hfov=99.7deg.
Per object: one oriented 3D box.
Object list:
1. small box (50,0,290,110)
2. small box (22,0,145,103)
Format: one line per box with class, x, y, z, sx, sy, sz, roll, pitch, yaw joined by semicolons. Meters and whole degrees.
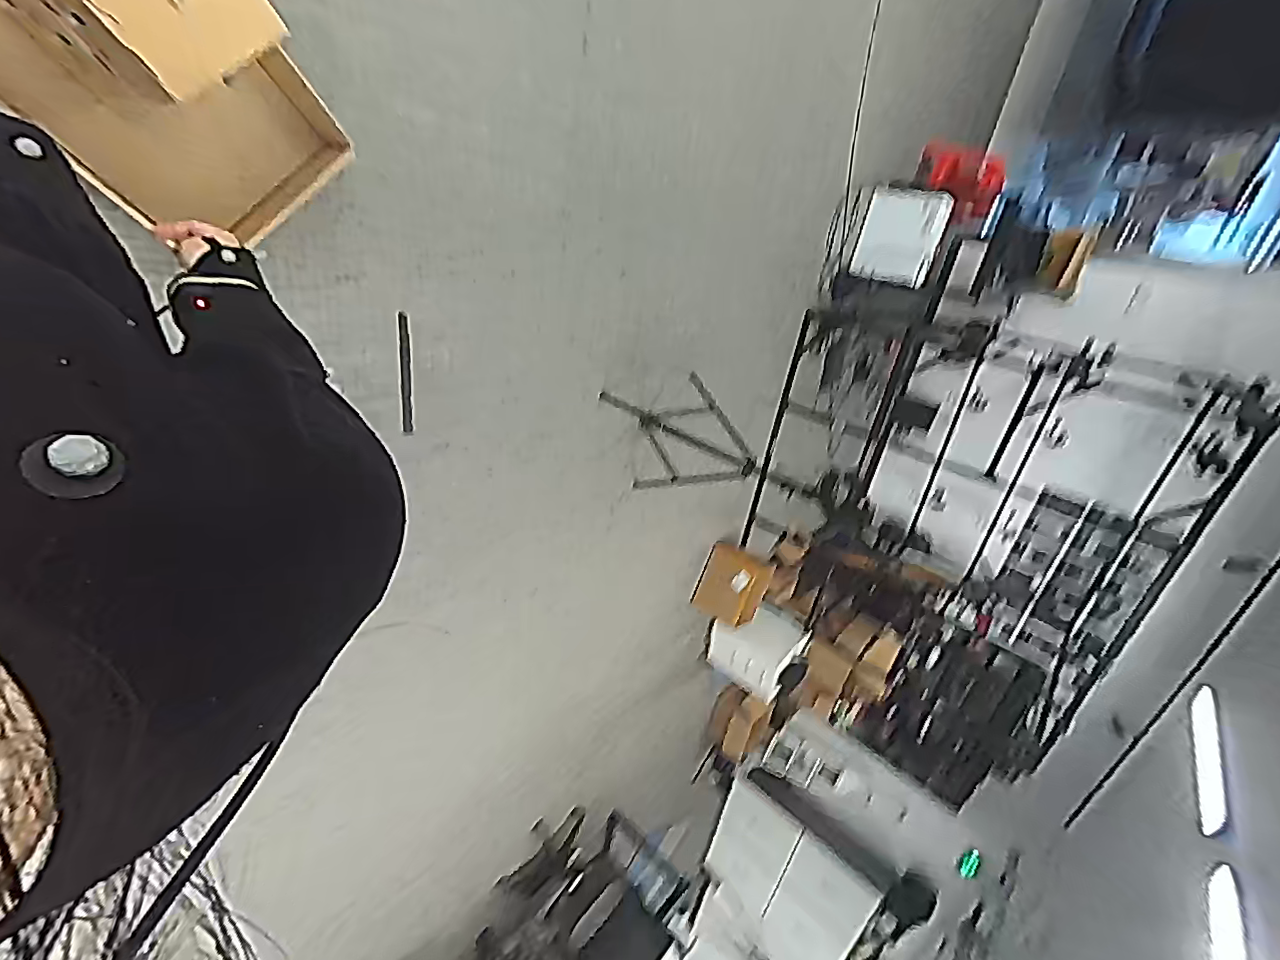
small box;-0.598;-0.598;0.674;0.179;0.176;0.168;-51;145;-16
small box;-0.725;-0.659;0.757;0.179;0.176;0.168;-50;145;-17
